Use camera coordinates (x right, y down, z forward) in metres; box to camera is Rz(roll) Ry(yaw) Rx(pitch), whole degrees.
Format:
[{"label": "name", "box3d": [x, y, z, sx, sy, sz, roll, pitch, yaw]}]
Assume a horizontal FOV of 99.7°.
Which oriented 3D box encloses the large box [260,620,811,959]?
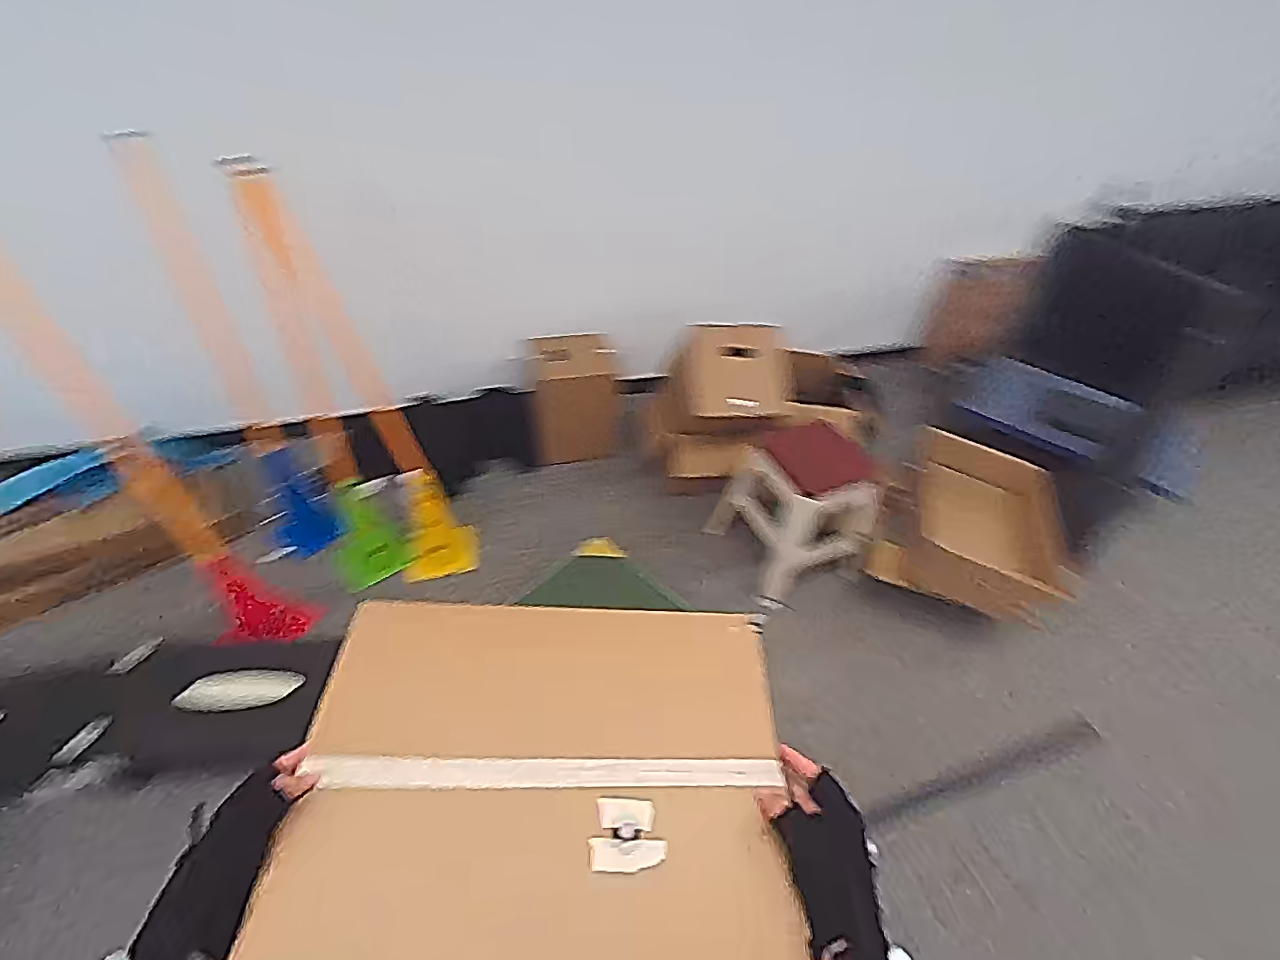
[{"label": "large box", "box3d": [-0.086, 0.367, 0.575, 0.408, 0.320, 0.320, 4, 48, -4]}]
